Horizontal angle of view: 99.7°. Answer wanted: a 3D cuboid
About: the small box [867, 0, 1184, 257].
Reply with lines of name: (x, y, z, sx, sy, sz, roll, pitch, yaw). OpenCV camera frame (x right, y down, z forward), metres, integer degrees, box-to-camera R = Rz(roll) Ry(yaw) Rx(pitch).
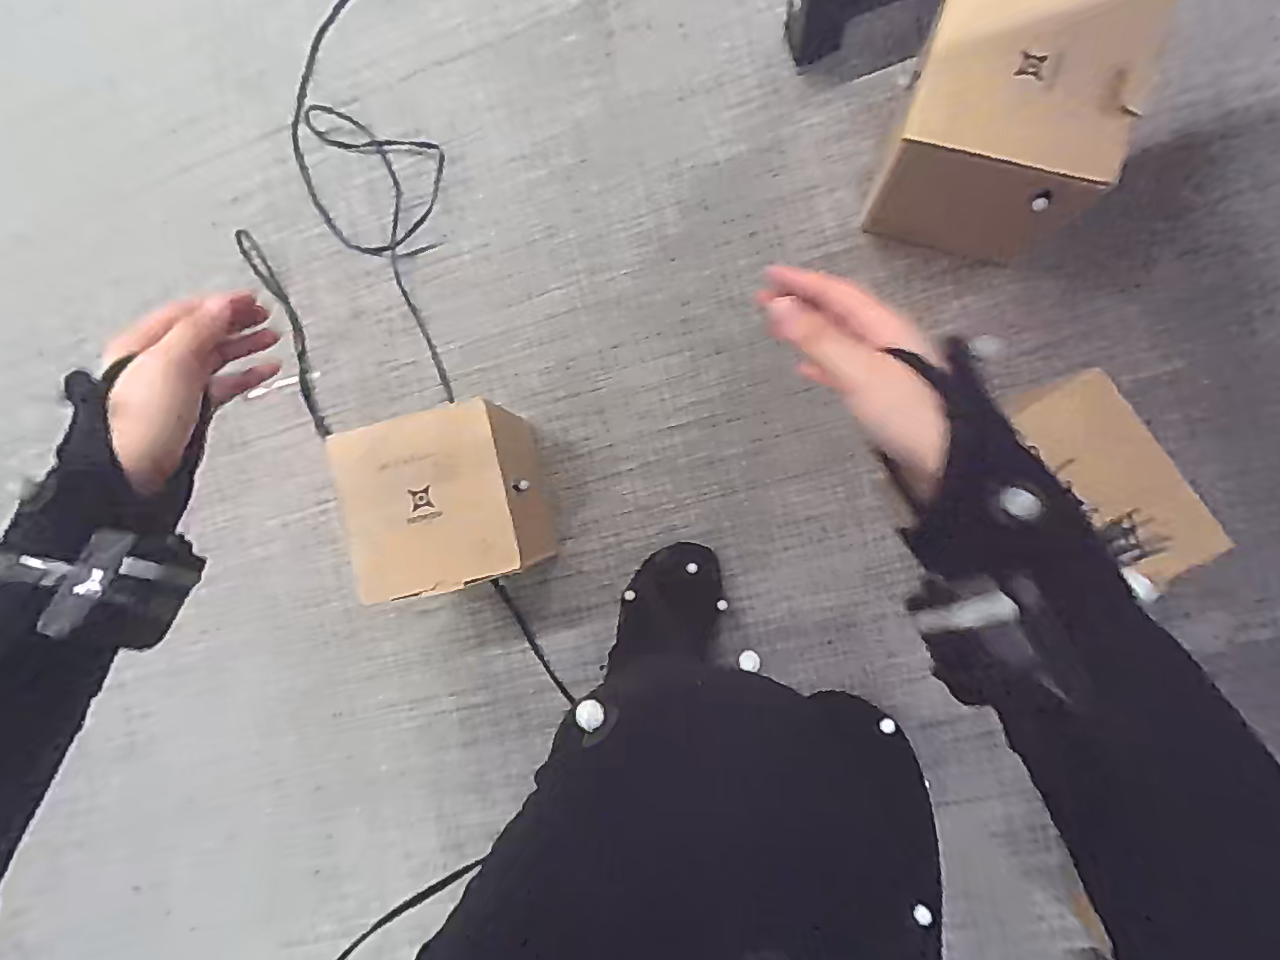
small box: (0.347, -0.345, 0.529, 0.179, 0.176, 0.168, 18, 92, 8)
